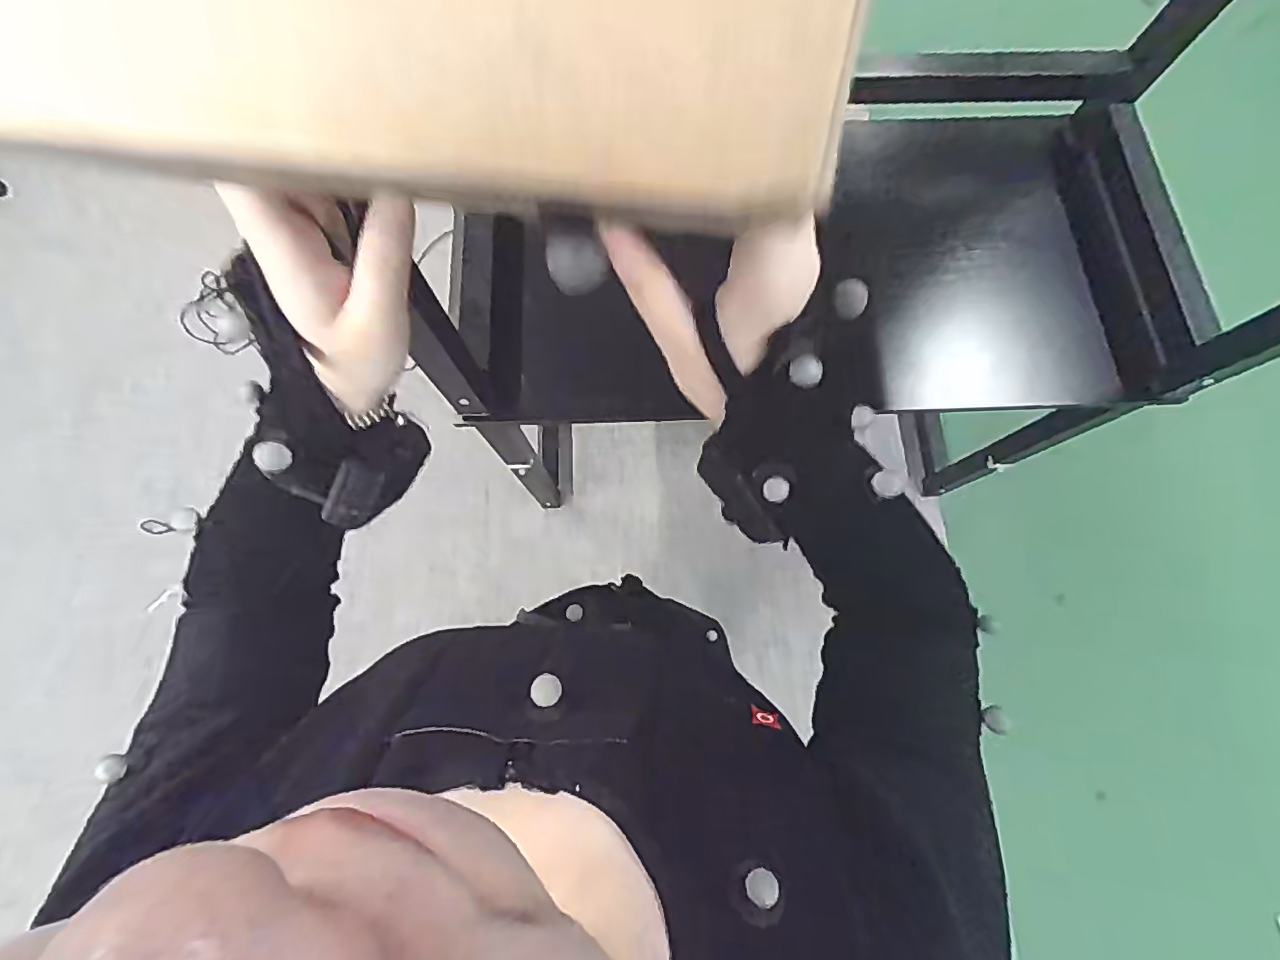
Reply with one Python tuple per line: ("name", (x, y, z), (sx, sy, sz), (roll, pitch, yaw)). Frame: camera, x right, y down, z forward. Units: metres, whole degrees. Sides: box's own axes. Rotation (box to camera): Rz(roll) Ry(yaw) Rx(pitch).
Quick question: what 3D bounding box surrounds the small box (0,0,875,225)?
("small box", (-0.041, -0.161, 0.129), (0.179, 0.176, 0.168), (6, 113, 1))
